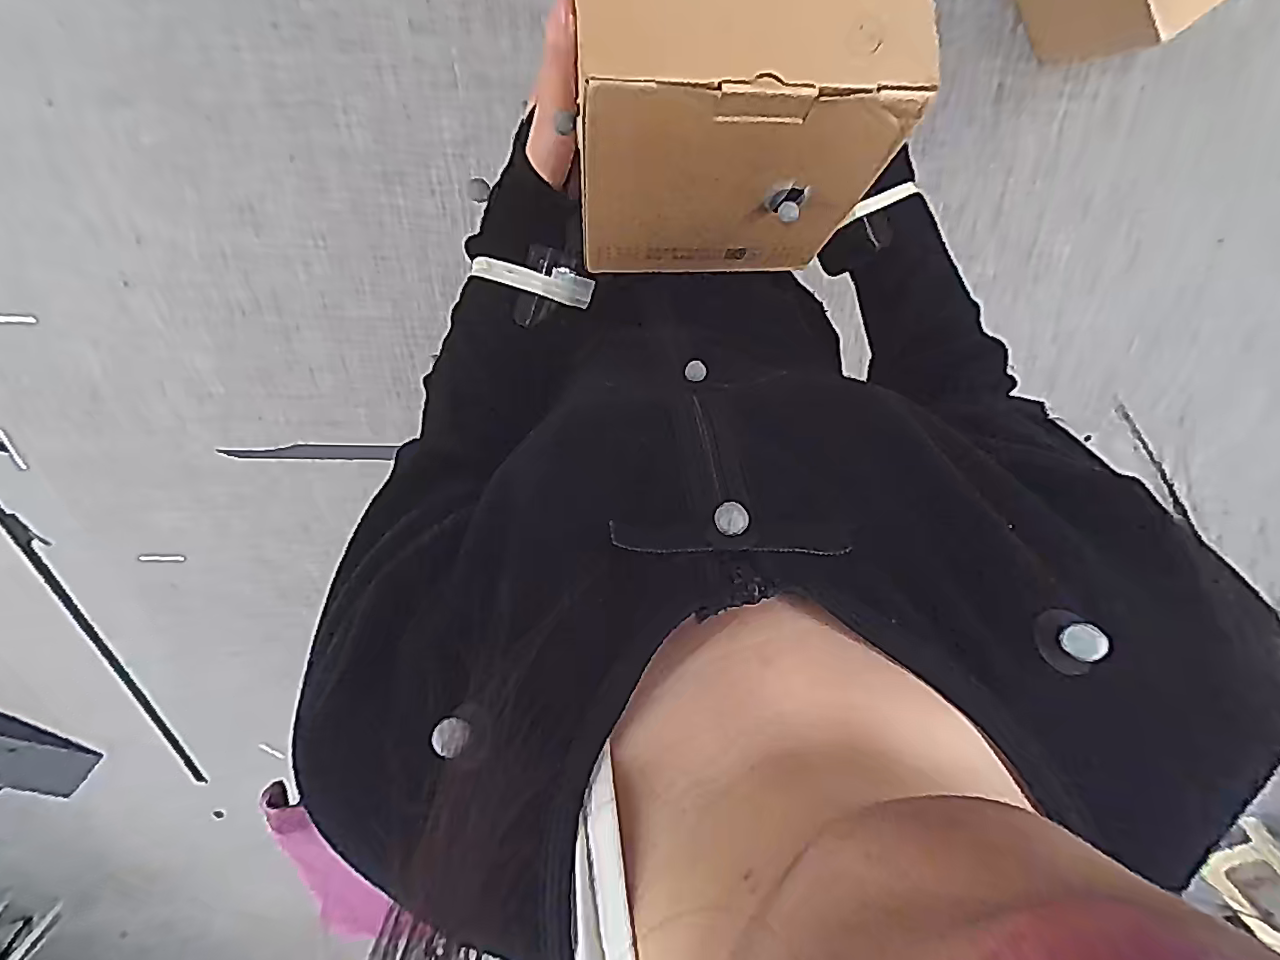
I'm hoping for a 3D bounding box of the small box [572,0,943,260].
[{"bbox_3d":[0.044,-0.251,0.323,0.168,0.176,0.179,-3,83,-7],"label":"small box"}]
